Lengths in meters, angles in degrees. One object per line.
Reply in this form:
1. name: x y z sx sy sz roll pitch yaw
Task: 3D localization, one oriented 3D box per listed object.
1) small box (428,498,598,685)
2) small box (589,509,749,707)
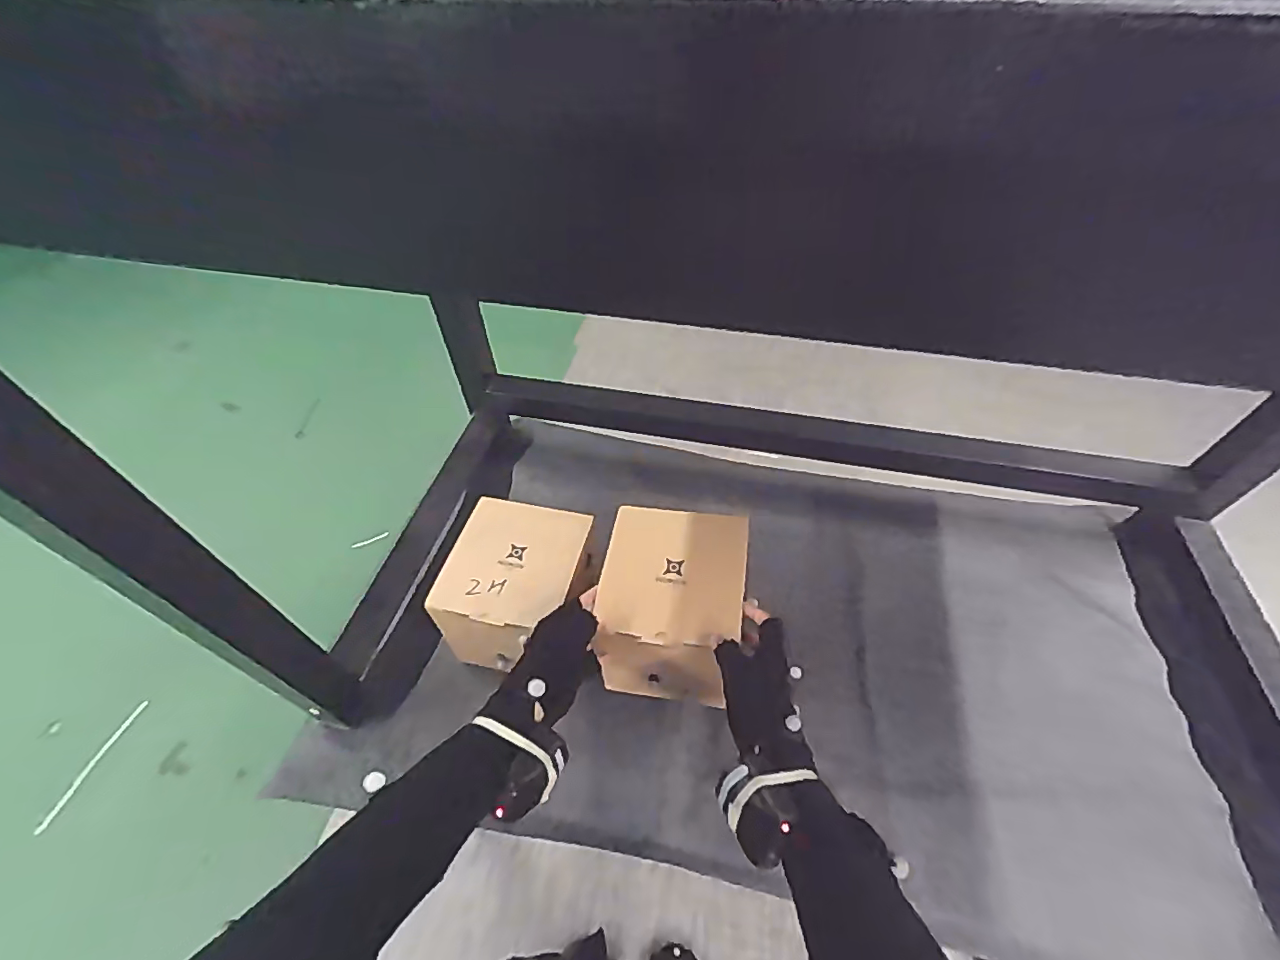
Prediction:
1. small box: -0.159 0.154 0.749 0.168 0.176 0.179 10 50 9
2. small box: 0.043 0.162 0.687 0.168 0.176 0.179 6 50 10
